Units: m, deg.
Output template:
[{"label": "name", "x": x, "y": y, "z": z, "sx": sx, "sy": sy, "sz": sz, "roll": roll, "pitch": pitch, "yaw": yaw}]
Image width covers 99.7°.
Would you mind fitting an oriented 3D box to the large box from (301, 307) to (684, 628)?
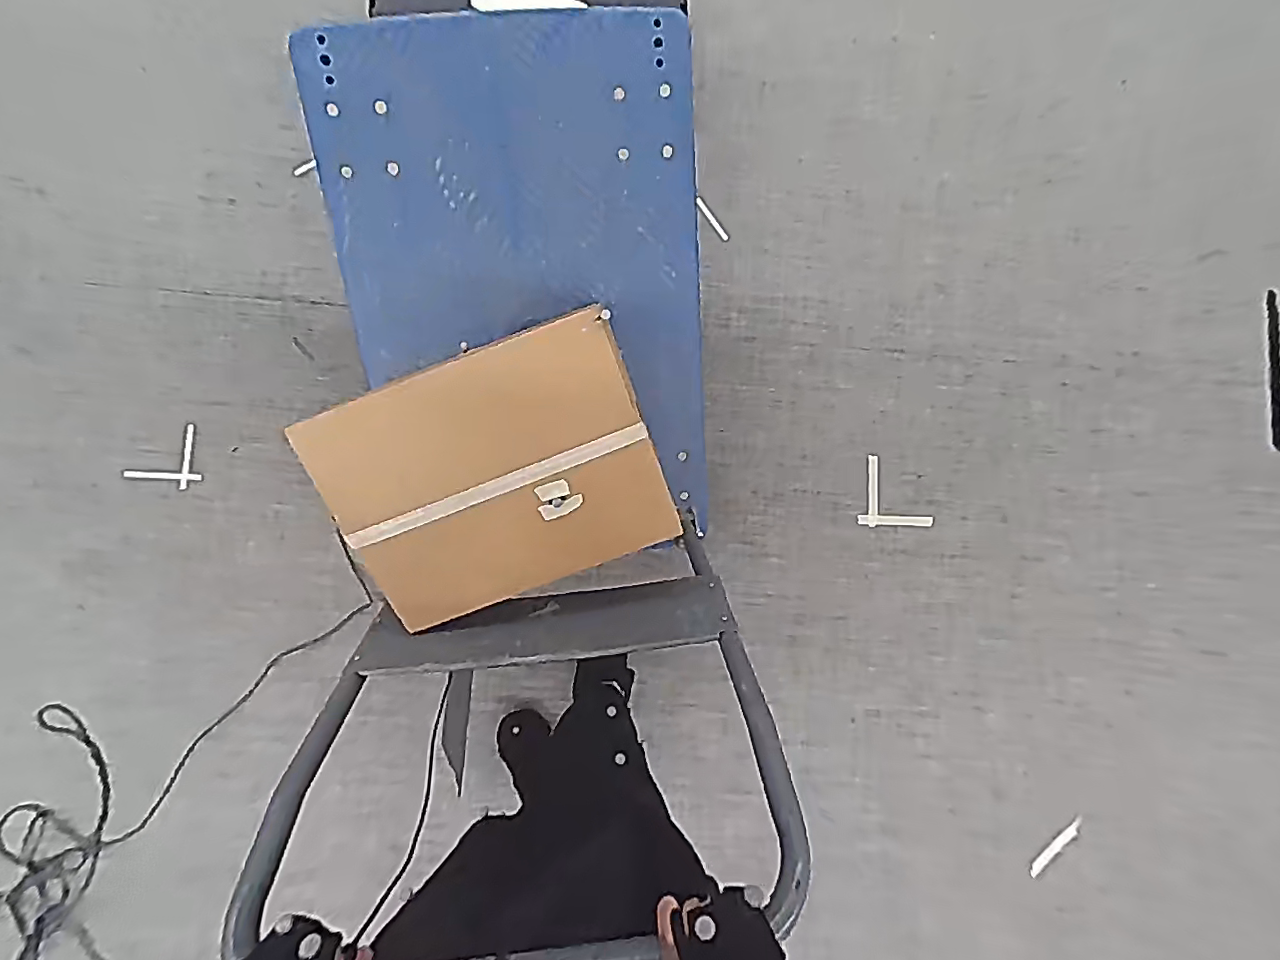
[{"label": "large box", "x": -0.189, "y": -0.044, "z": 0.830, "sx": 0.408, "sy": 0.320, "sz": 0.320, "roll": -21, "pitch": 110, "yaw": 1}]
